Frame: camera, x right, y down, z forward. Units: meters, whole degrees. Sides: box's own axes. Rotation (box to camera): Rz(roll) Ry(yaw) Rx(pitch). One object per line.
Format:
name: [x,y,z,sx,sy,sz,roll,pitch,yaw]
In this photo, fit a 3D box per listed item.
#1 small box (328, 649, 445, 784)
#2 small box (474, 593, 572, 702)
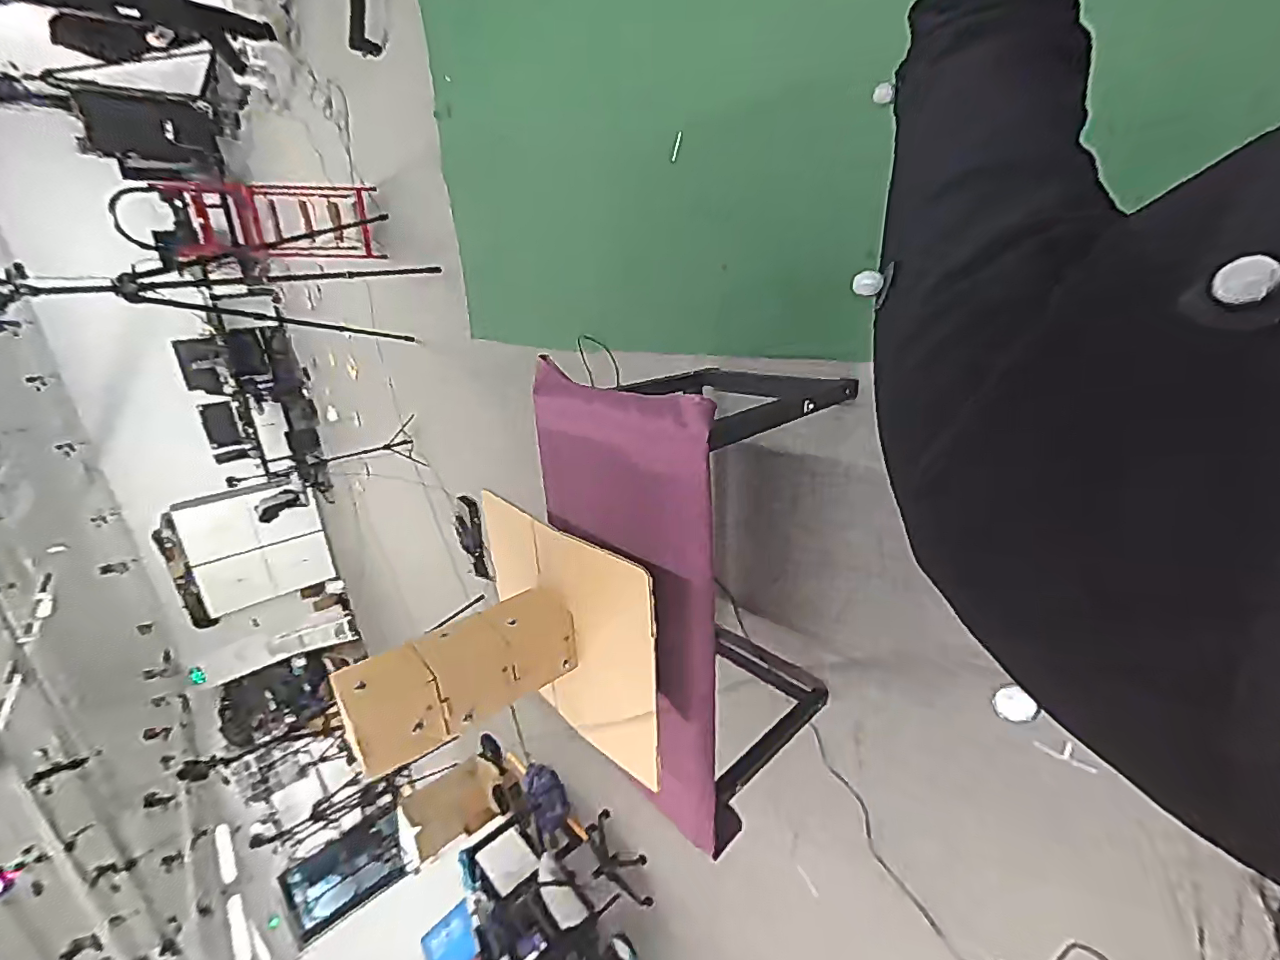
small box: [-0.534,0.486,1.144,0.179,0.176,0.168,19,119,47]
small box: [-0.282,0.402,1.337,0.179,0.176,0.168,16,118,45]
